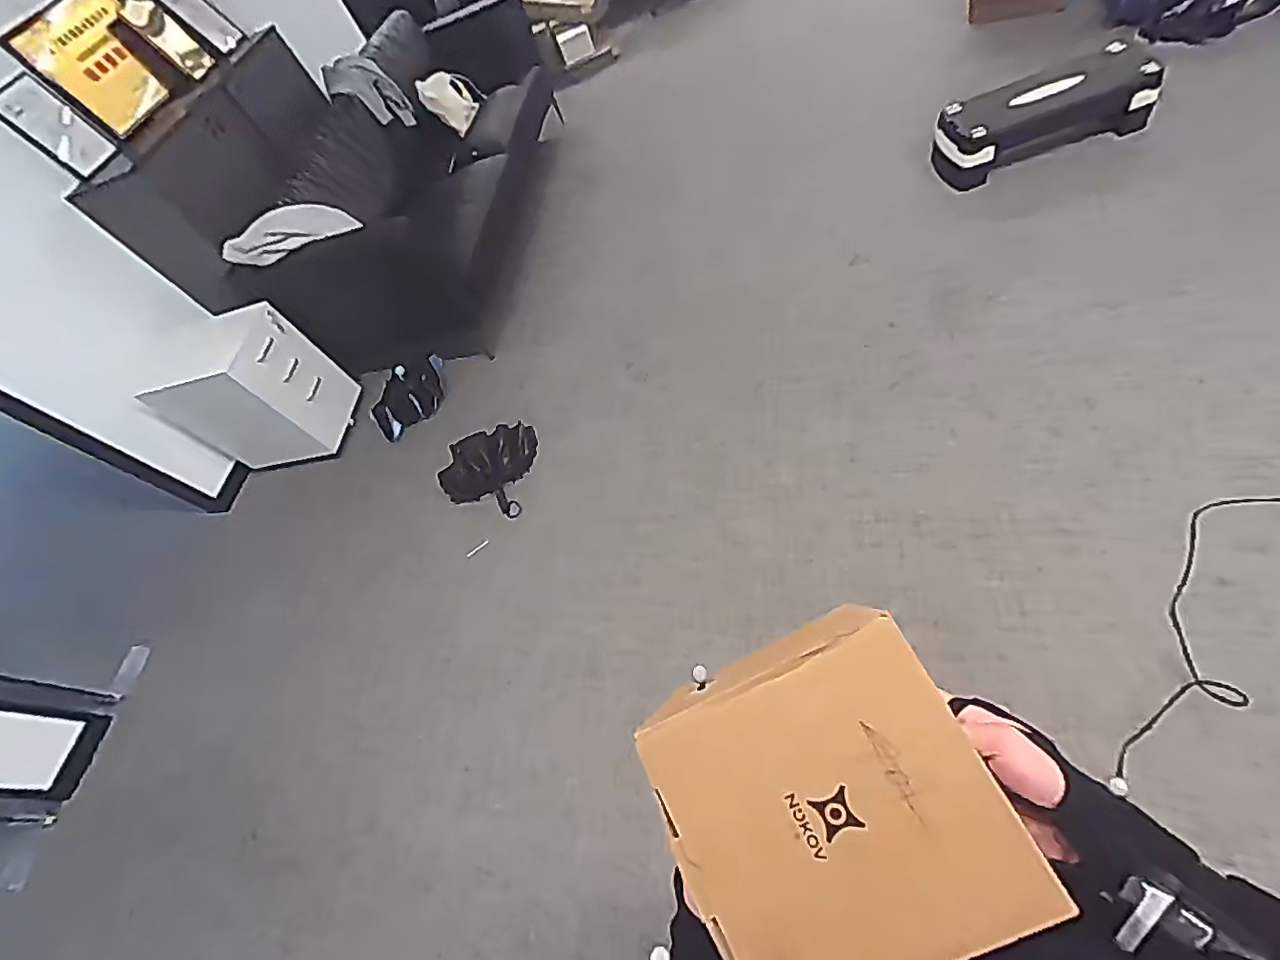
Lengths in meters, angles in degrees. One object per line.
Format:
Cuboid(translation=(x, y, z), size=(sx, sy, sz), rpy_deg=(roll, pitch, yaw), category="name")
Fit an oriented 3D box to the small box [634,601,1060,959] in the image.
Cuboid(translation=(0.123, 0.198, 0.380), size=(0.179, 0.176, 0.168), rpy_deg=(-30, 74, 6), category="small box")
